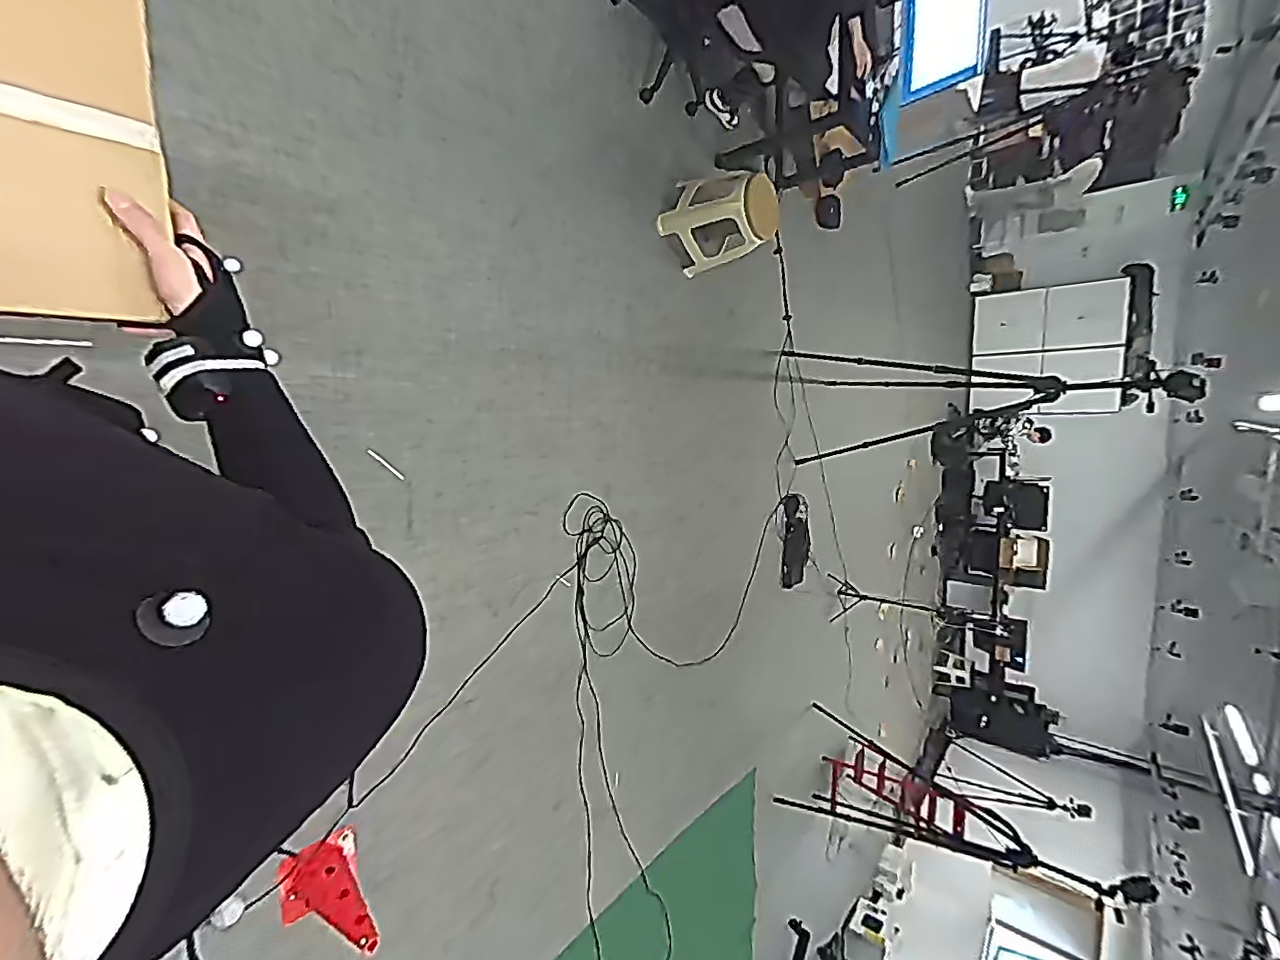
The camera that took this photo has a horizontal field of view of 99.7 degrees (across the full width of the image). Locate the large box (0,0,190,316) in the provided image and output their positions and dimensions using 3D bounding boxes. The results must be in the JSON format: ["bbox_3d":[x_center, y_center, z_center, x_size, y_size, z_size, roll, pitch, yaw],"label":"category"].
[{"bbox_3d":[-0.673,-0.307,0.437,0.408,0.320,0.320,-12,111,-49],"label":"large box"}]
